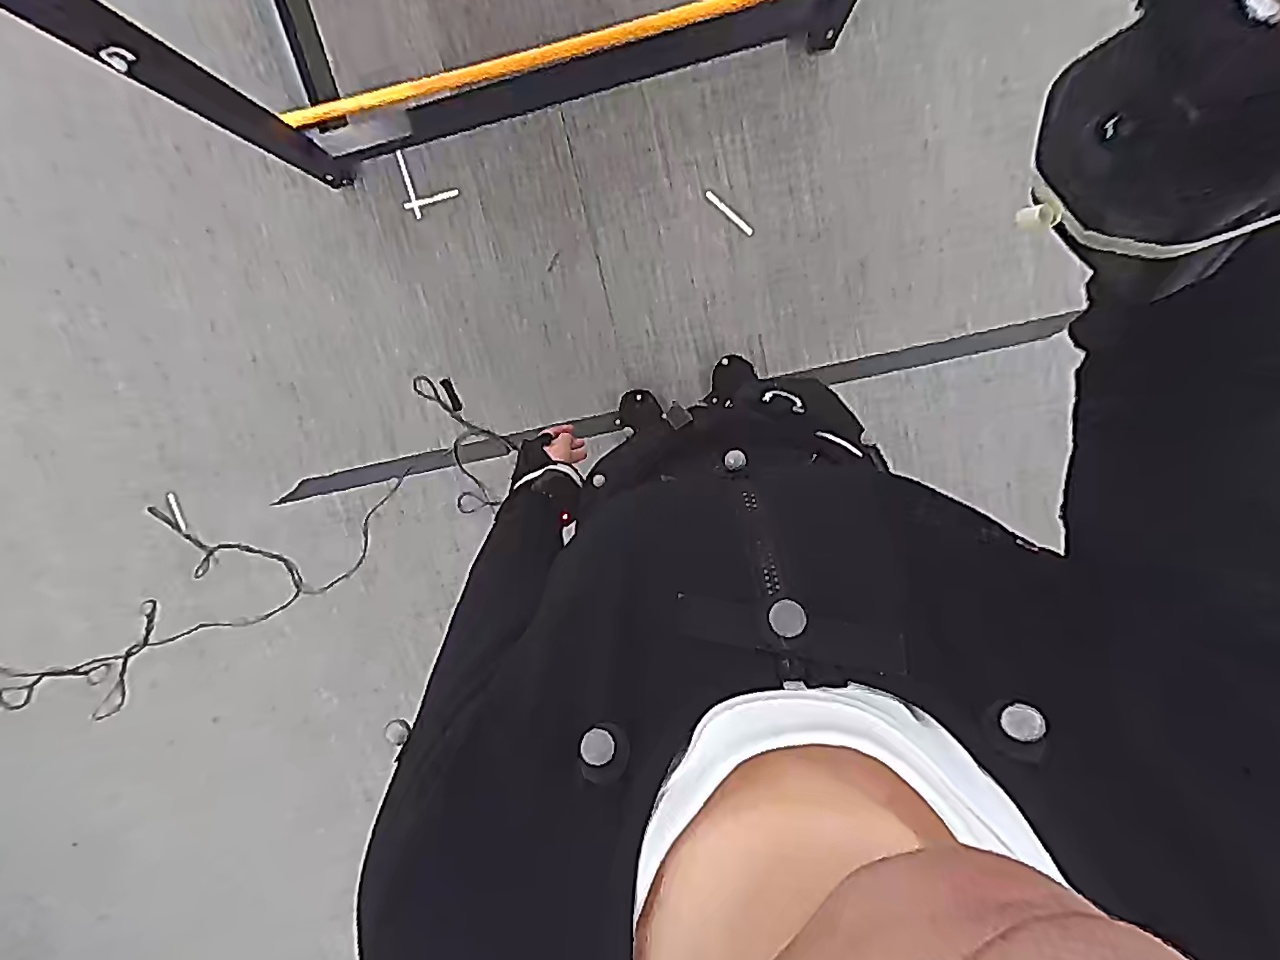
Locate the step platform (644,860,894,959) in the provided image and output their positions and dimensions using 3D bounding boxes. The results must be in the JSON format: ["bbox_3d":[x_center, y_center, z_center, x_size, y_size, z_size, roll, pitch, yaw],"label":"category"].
[{"bbox_3d":[0.357,1.331,1.546,0.684,0.204,0.286,-13,101,4],"label":"step platform"}]
